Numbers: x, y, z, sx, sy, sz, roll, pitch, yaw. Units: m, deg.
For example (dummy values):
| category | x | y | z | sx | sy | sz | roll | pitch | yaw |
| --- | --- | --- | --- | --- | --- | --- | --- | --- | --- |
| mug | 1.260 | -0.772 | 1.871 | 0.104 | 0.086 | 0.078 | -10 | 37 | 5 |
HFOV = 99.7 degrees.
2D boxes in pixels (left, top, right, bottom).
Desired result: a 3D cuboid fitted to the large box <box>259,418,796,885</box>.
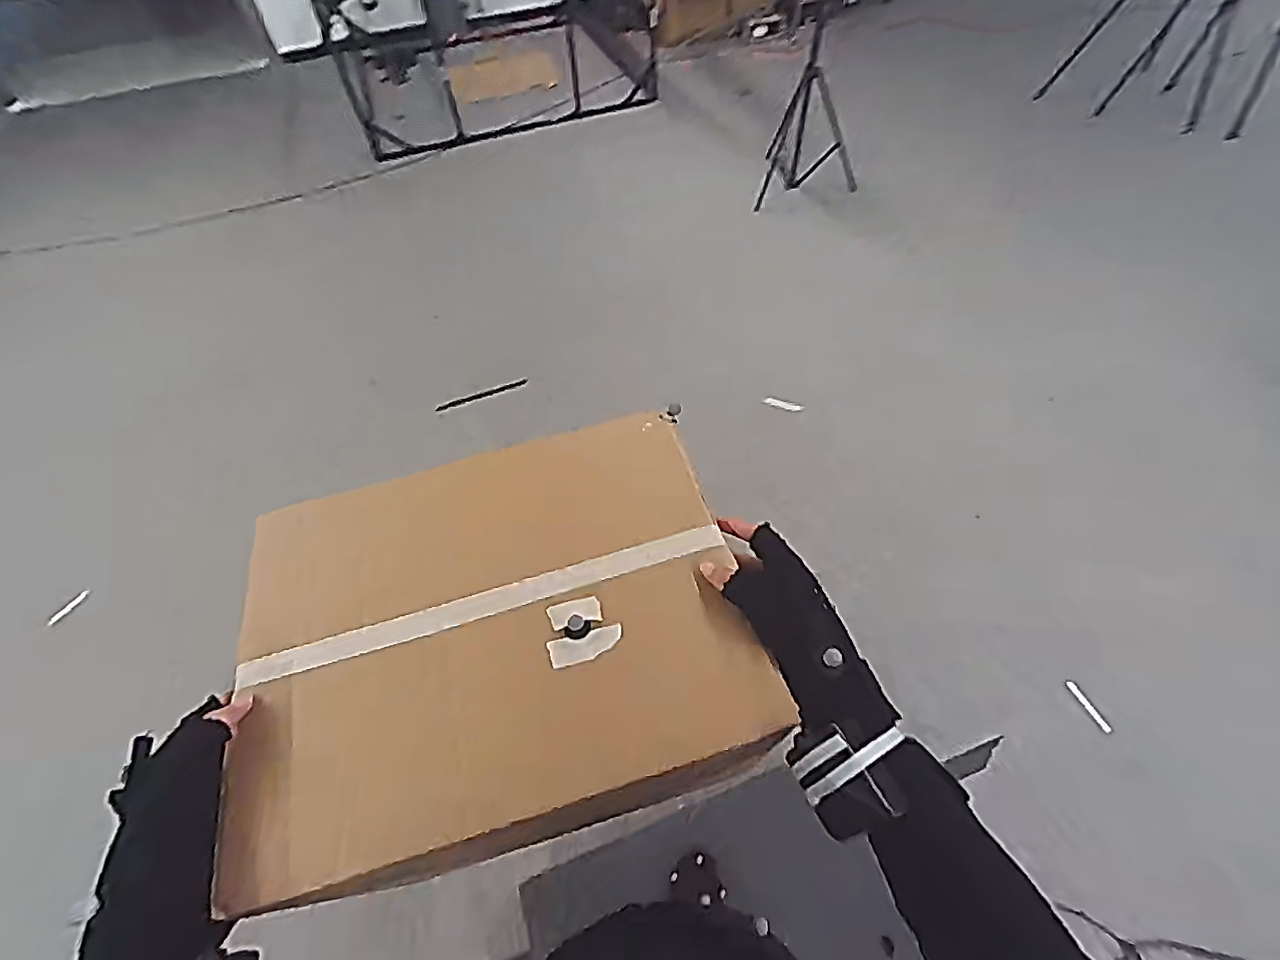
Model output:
| category | x | y | z | sx | sy | sz | roll | pitch | yaw |
| --- | --- | --- | --- | --- | --- | --- | --- | --- | --- |
| large box | -0.102 | 0.187 | 0.590 | 0.408 | 0.320 | 0.320 | -14 | 57 | -6 |

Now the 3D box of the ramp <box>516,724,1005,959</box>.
| category | x | y | z | sx | sy | sz | roll | pitch | yaw |
| --- | --- | --- | --- | --- | --- | --- | --- | --- | --- |
| ramp | 0.274 | 0.948 | 1.193 | 0.991 | 0.206 | 0.509 | -20 | 55 | -11 |
